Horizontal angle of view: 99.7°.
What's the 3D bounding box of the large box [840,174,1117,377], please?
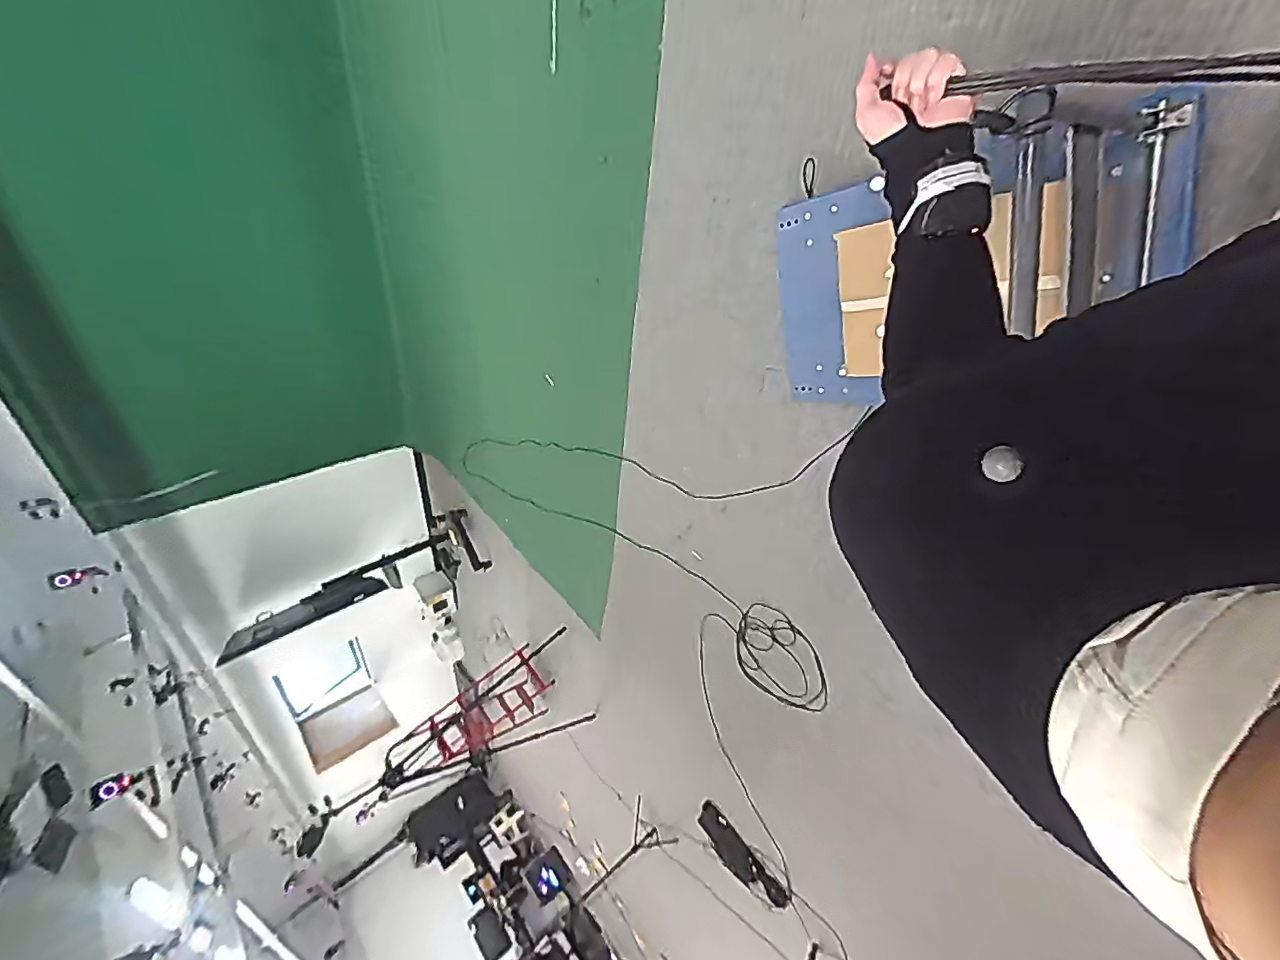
[{"bbox_3d":[0.690,-0.405,1.122,0.408,0.320,0.320,12,118,50],"label":"large box"}]
